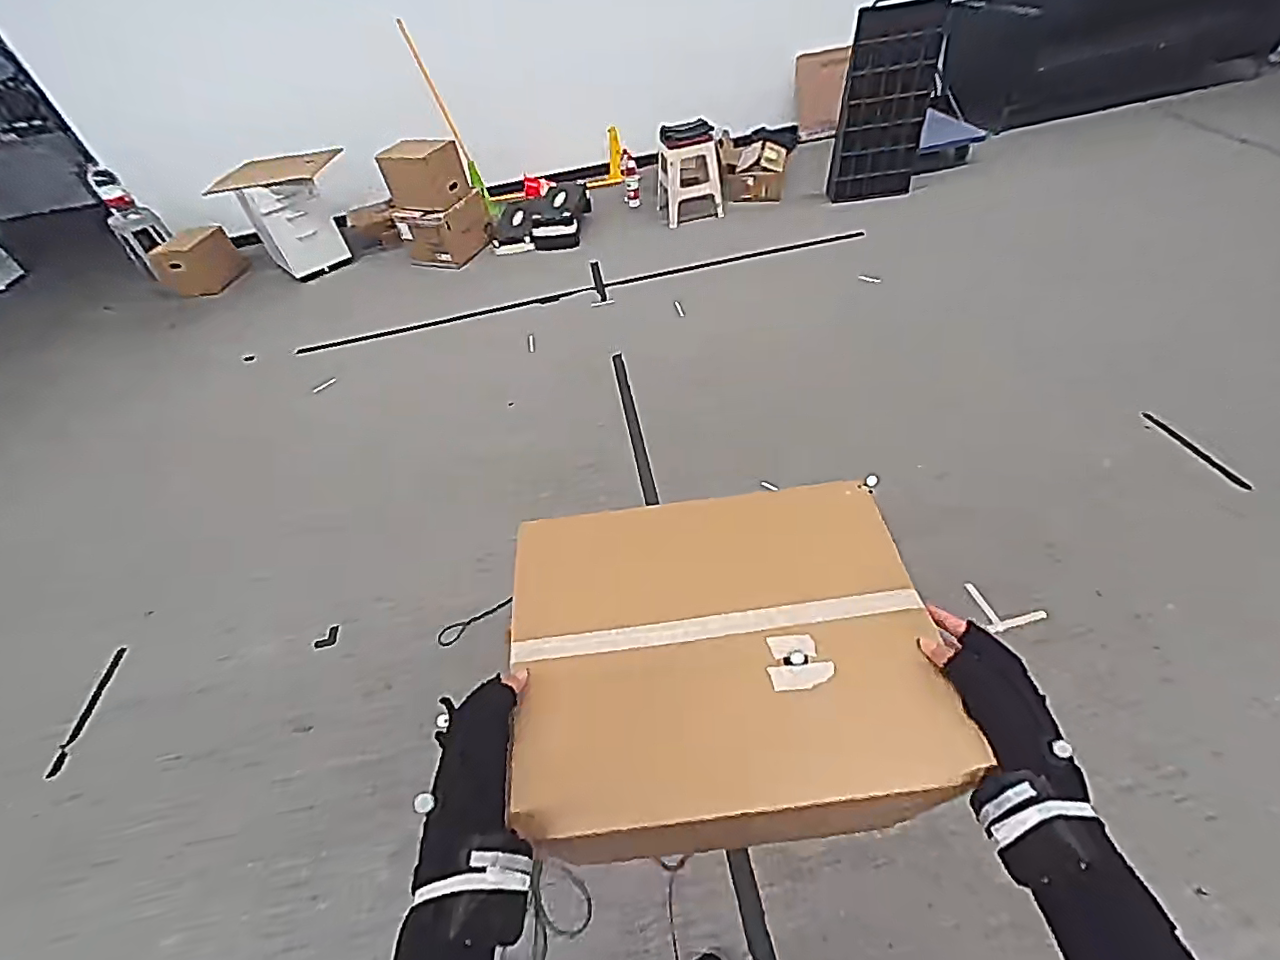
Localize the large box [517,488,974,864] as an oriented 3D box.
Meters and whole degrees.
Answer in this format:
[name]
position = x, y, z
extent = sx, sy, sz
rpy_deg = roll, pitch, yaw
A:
[large box]
position = 0.084, 0.247, 0.664
extent = 0.408, 0.320, 0.320
rpy_deg = -8, 52, -1
